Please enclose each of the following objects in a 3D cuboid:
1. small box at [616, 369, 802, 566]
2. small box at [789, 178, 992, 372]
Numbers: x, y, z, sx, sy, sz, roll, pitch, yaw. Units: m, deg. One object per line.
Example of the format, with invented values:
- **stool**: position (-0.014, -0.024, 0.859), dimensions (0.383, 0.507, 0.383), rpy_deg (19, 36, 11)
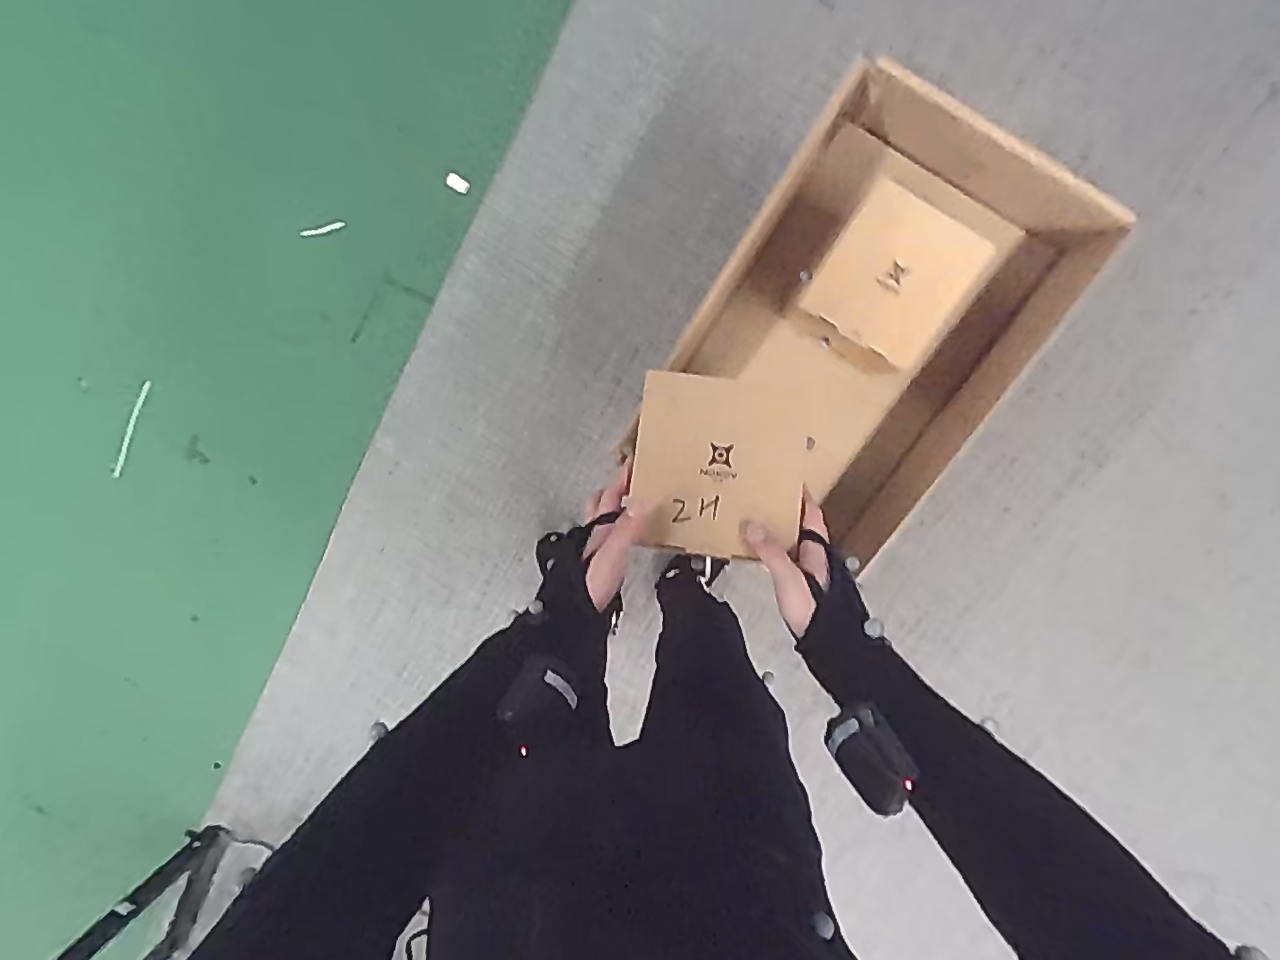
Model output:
- **small box**: position (0.071, -0.003, 0.598), dimensions (0.168, 0.176, 0.179), rpy_deg (7, 81, 4)
- **small box**: position (0.323, -0.266, 0.745), dimensions (0.168, 0.176, 0.179), rpy_deg (32, 104, 2)
